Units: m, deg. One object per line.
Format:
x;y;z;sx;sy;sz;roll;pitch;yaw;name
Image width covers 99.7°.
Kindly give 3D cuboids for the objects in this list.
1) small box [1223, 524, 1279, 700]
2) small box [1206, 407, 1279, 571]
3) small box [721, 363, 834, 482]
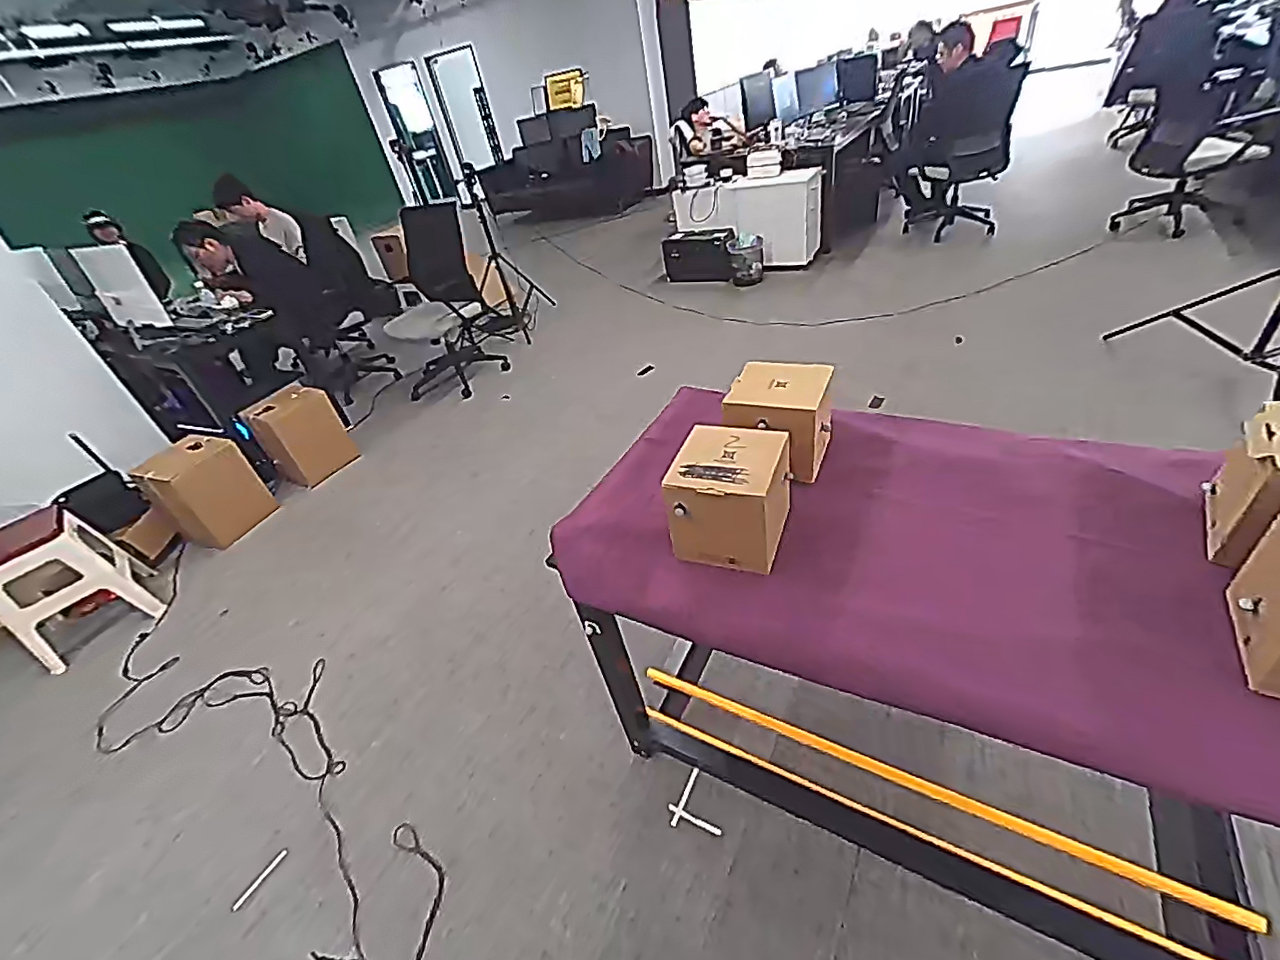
0.791;0.149;0.577;0.179;0.176;0.168;13;42;31;small box
0.888;0.029;0.705;0.179;0.176;0.168;18;48;33;small box
0.275;-0.114;1.072;0.179;0.176;0.168;9;42;26;small box
